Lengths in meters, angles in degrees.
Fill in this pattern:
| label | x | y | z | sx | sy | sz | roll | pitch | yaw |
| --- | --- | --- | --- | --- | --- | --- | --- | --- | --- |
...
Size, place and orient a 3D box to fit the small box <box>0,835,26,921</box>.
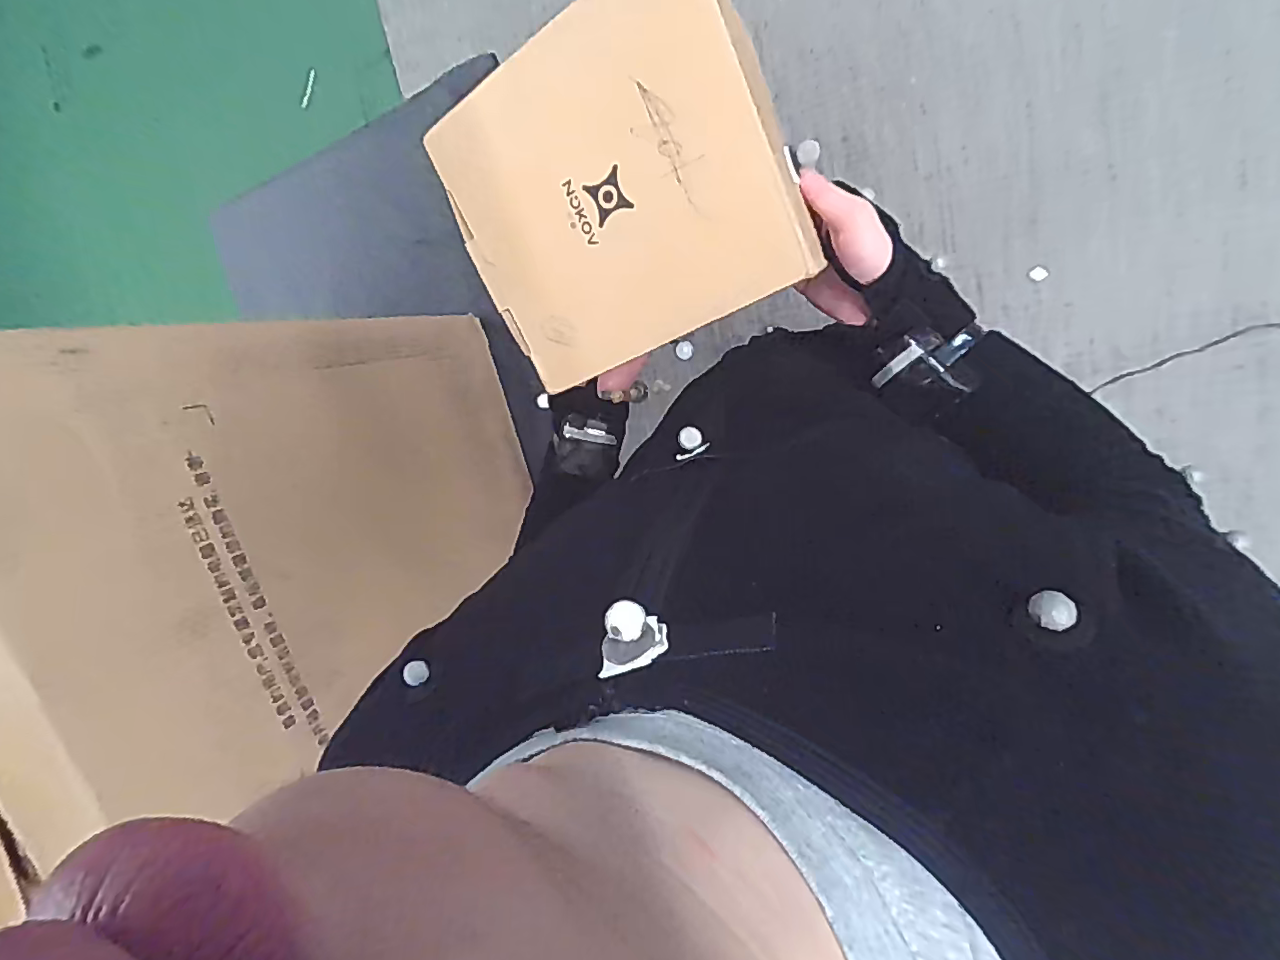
| label | x | y | z | sx | sy | sz | roll | pitch | yaw |
| --- | --- | --- | --- | --- | --- | --- | --- | --- | --- |
| small box | -0.595 | 0.286 | 0.366 | 0.168 | 0.176 | 0.179 | 1 | 105 | 10 |
